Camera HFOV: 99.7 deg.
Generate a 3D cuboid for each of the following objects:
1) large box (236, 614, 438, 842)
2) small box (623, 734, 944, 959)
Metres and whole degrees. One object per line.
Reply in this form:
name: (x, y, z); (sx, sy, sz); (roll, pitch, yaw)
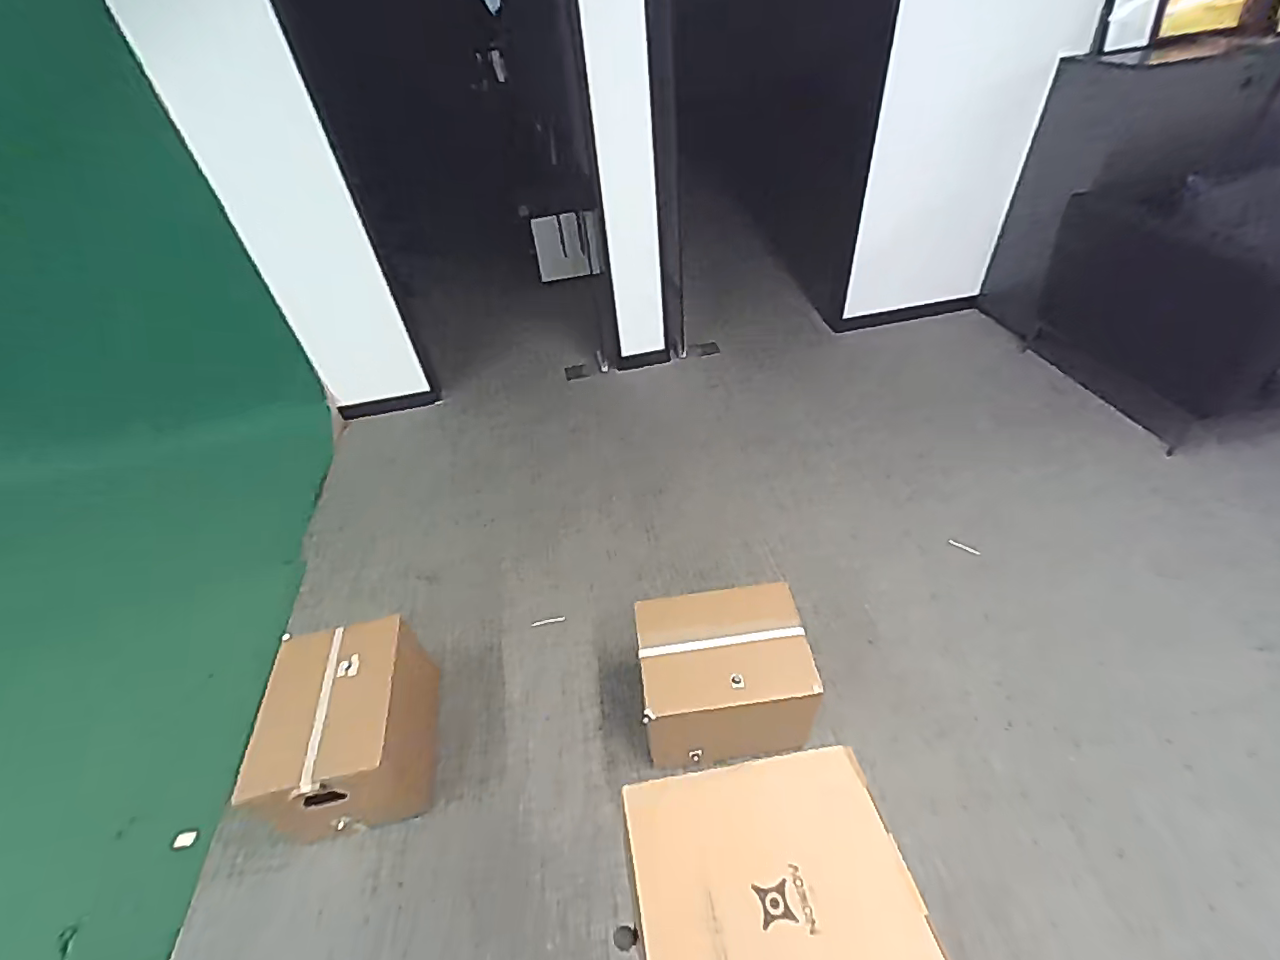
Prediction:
large box: (-0.735, 0.630, 1.396); (0.320, 0.320, 0.408); (-12, 42, -5)
small box: (0.083, 0.312, 0.393); (0.179, 0.176, 0.168); (-6, 42, -7)
